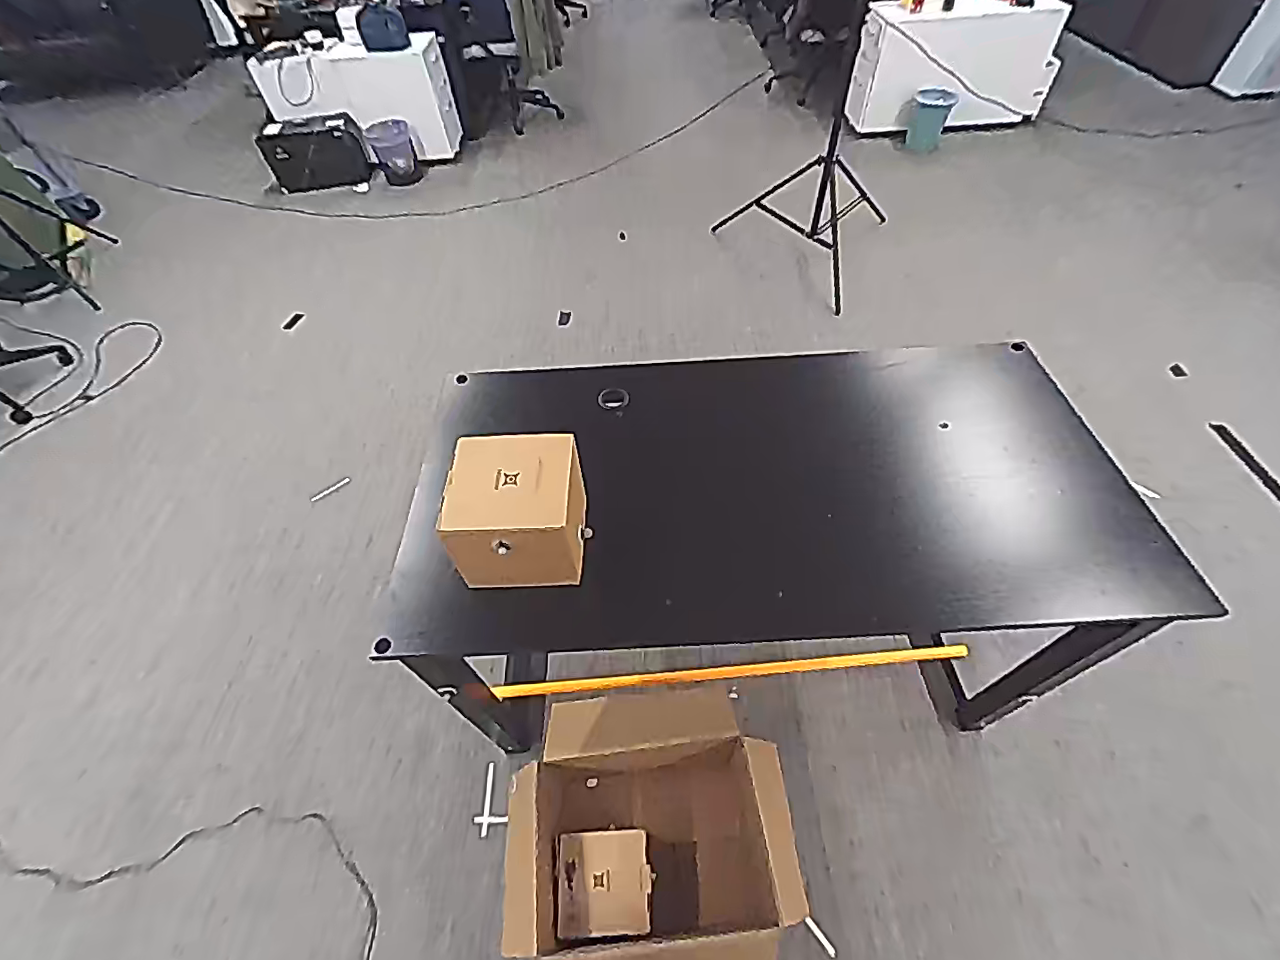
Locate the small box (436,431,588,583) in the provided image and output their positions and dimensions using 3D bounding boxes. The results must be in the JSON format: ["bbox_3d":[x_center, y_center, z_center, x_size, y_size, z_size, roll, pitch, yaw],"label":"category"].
[{"bbox_3d":[-0.177,0.045,0.810,0.179,0.176,0.168,-2,53,0],"label":"small box"}]
